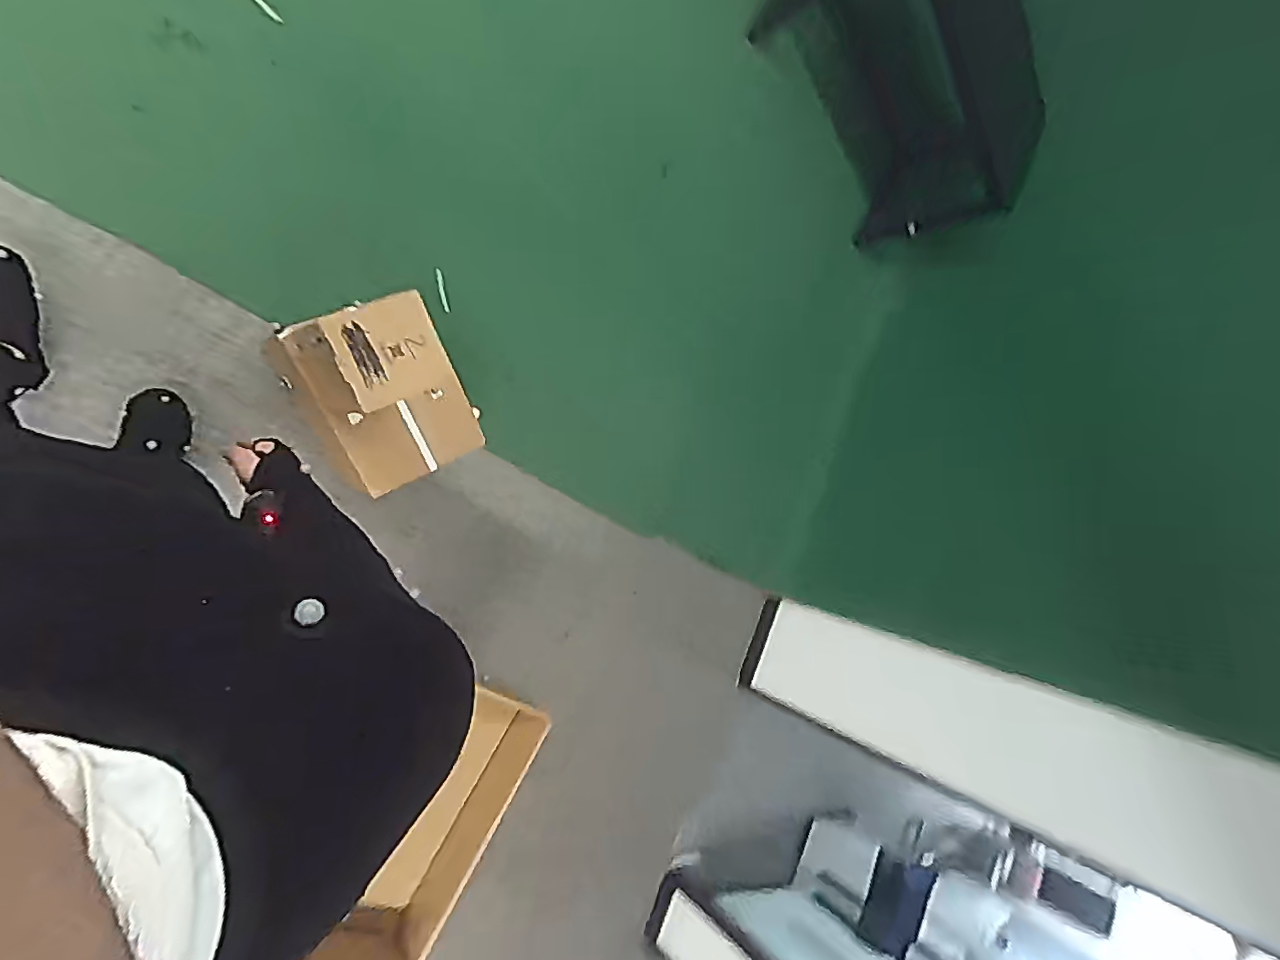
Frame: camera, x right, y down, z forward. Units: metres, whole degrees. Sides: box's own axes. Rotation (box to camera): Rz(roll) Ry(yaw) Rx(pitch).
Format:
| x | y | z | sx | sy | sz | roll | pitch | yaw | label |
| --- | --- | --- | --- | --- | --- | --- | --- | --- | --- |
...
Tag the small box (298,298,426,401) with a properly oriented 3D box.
| x | y | z | sx | sy | sz | roll | pitch | yaw | label |
| --- | --- | --- | --- | --- | --- | --- | --- | --- | --- |
| -0.582 | -0.268 | 1.123 | 0.179 | 0.176 | 0.168 | -30 | 117 | -33 | small box |
